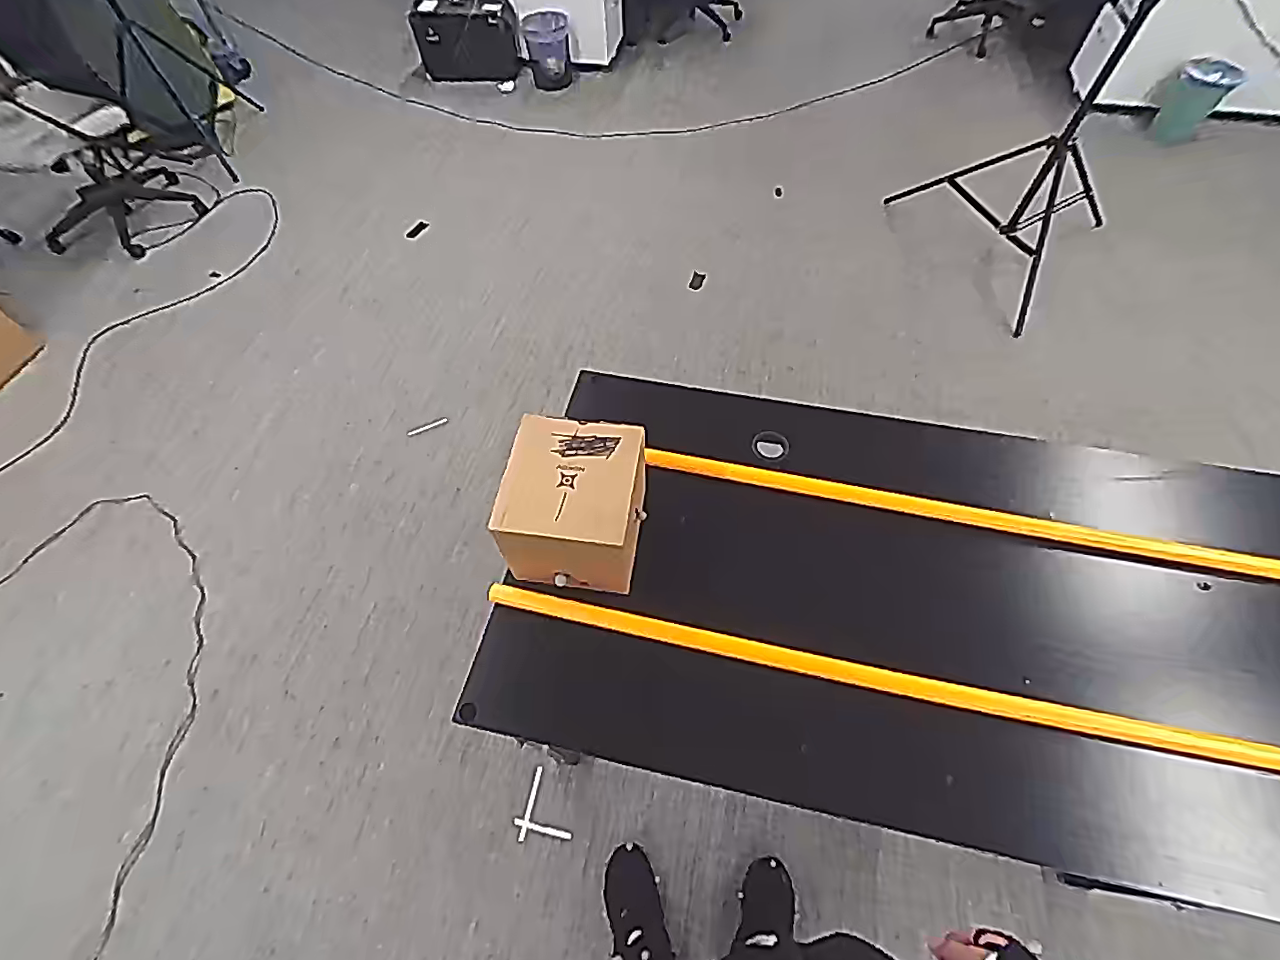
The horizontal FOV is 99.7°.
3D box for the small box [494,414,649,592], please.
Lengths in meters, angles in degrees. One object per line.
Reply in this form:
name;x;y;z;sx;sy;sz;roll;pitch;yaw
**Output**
small box;-0.081;0.035;0.746;0.168;0.176;0.179;7;60;6
